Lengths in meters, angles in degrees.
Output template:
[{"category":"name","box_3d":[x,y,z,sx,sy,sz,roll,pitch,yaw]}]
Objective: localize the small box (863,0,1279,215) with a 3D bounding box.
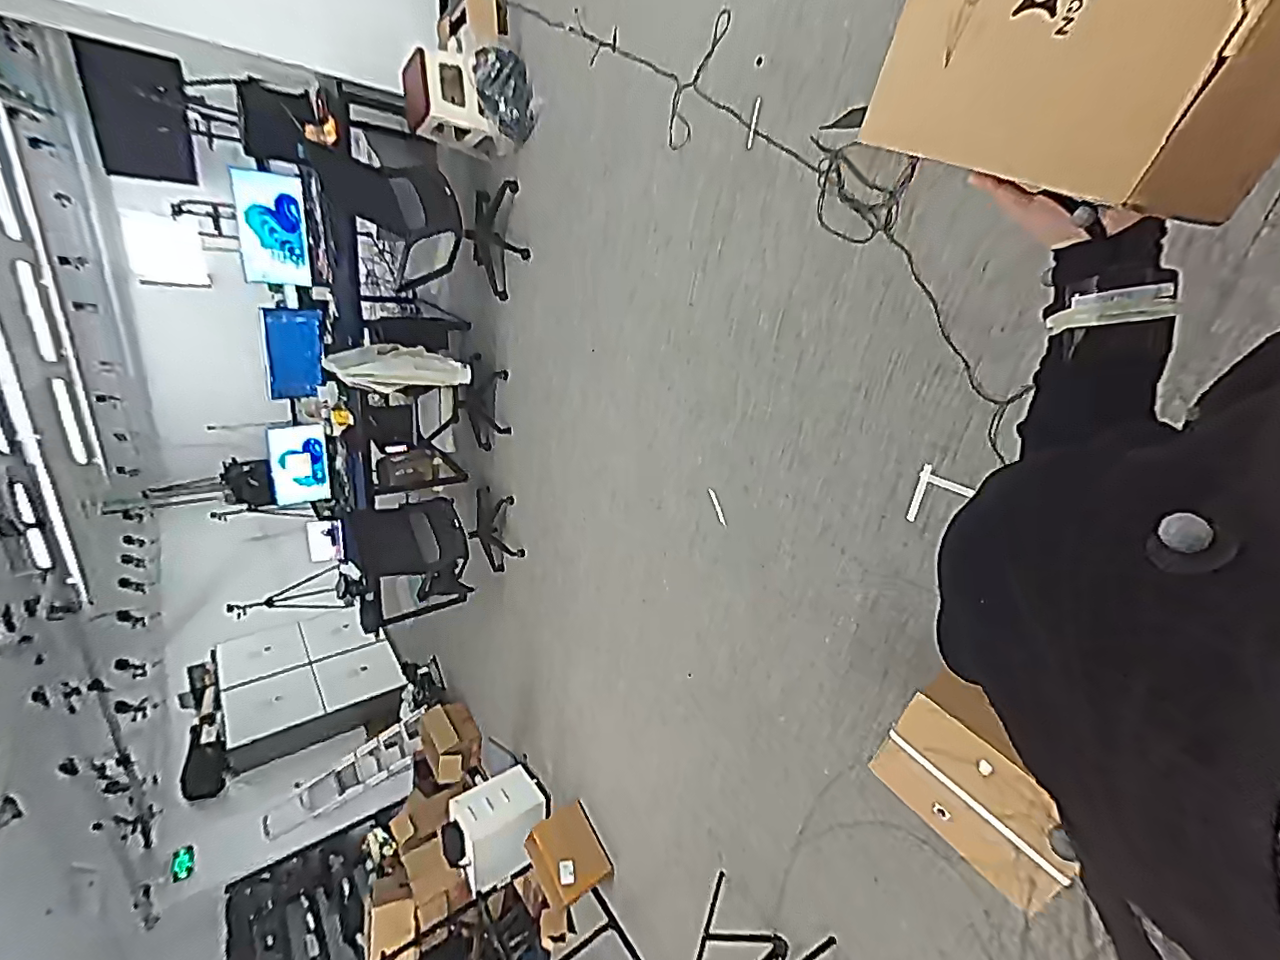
[{"category":"small box","box_3d":[0.279,-0.263,0.312,0.179,0.176,0.168,49,139,40]}]
